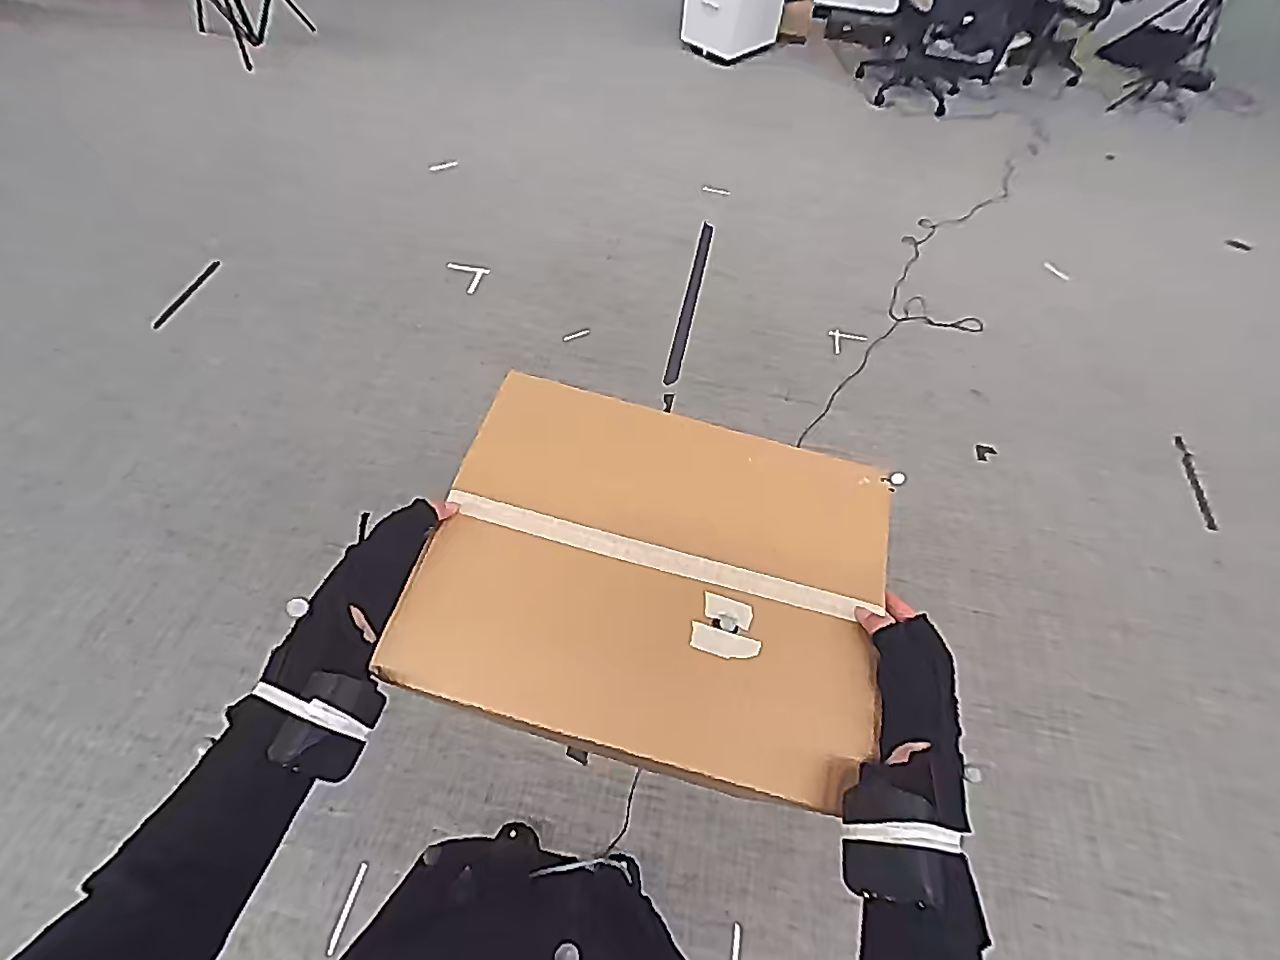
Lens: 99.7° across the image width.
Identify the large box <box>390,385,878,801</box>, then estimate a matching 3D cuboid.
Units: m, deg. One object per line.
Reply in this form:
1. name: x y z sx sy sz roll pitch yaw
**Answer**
1. large box: 0.006 0.143 0.630 0.408 0.320 0.320 15 63 1
